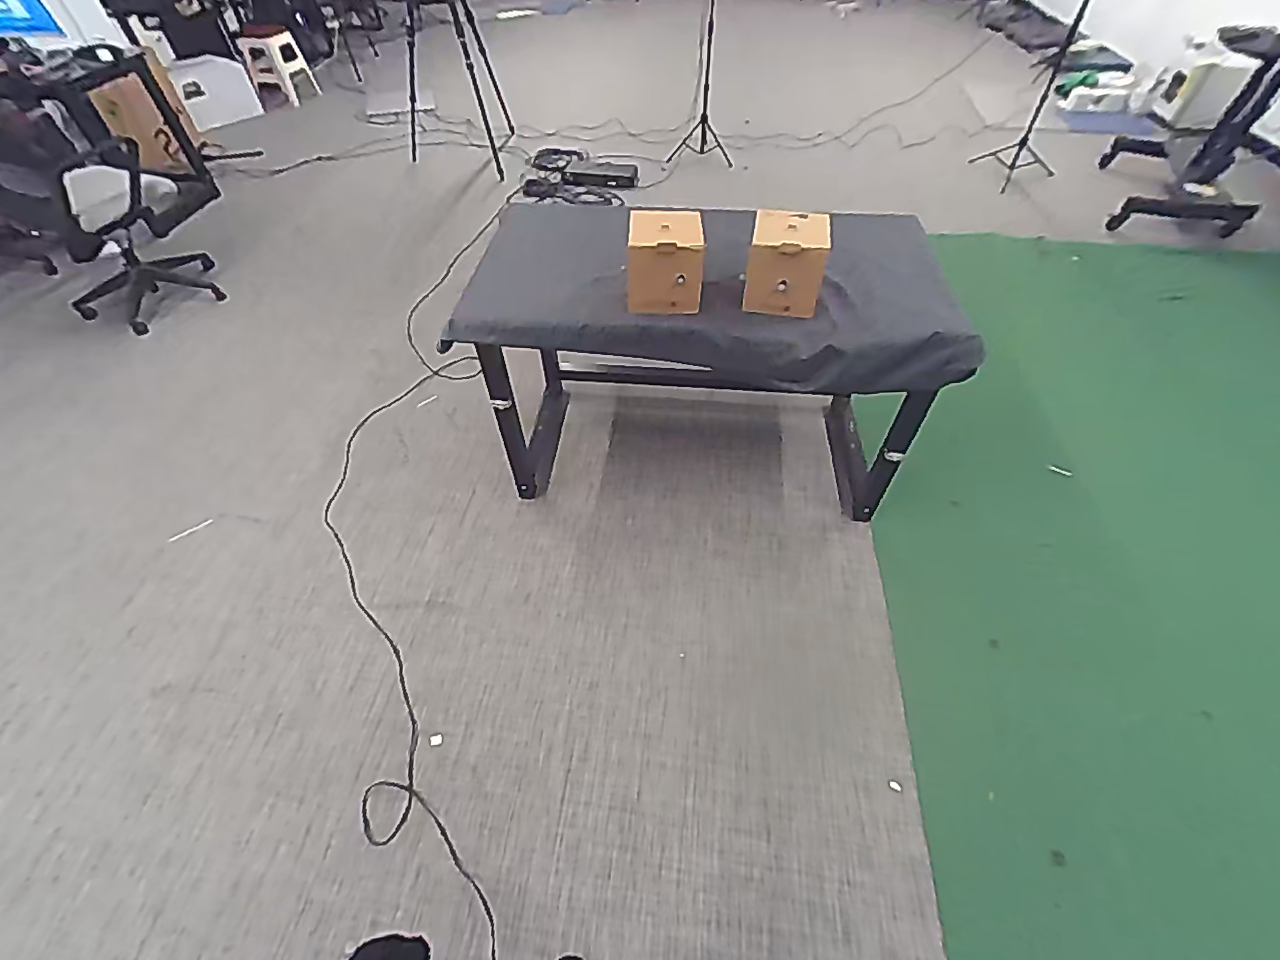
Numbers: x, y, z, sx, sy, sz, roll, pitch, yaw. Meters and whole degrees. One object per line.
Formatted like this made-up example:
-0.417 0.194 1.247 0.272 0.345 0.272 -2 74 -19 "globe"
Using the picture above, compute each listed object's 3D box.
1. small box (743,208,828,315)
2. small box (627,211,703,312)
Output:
0.335 -0.505 1.258 0.168 0.176 0.179 9 51 8 "small box"
0.055 -0.510 1.266 0.168 0.176 0.179 1 48 -1 "small box"
